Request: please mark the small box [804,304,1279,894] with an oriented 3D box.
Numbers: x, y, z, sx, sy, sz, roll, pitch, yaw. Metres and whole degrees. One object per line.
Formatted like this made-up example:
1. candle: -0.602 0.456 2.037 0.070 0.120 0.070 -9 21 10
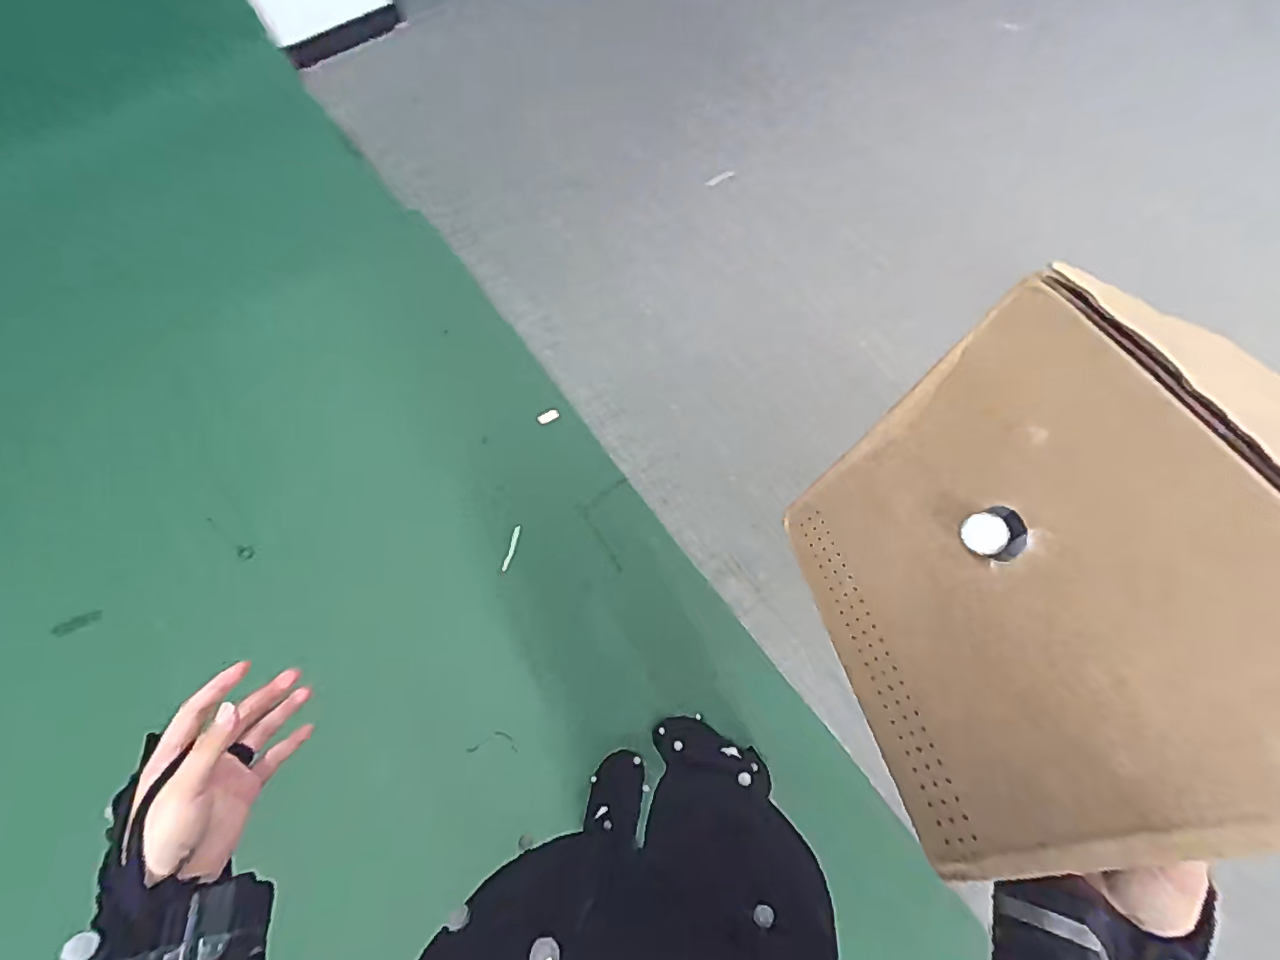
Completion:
1. small box: 0.207 0.056 0.244 0.168 0.176 0.179 3 51 -26
